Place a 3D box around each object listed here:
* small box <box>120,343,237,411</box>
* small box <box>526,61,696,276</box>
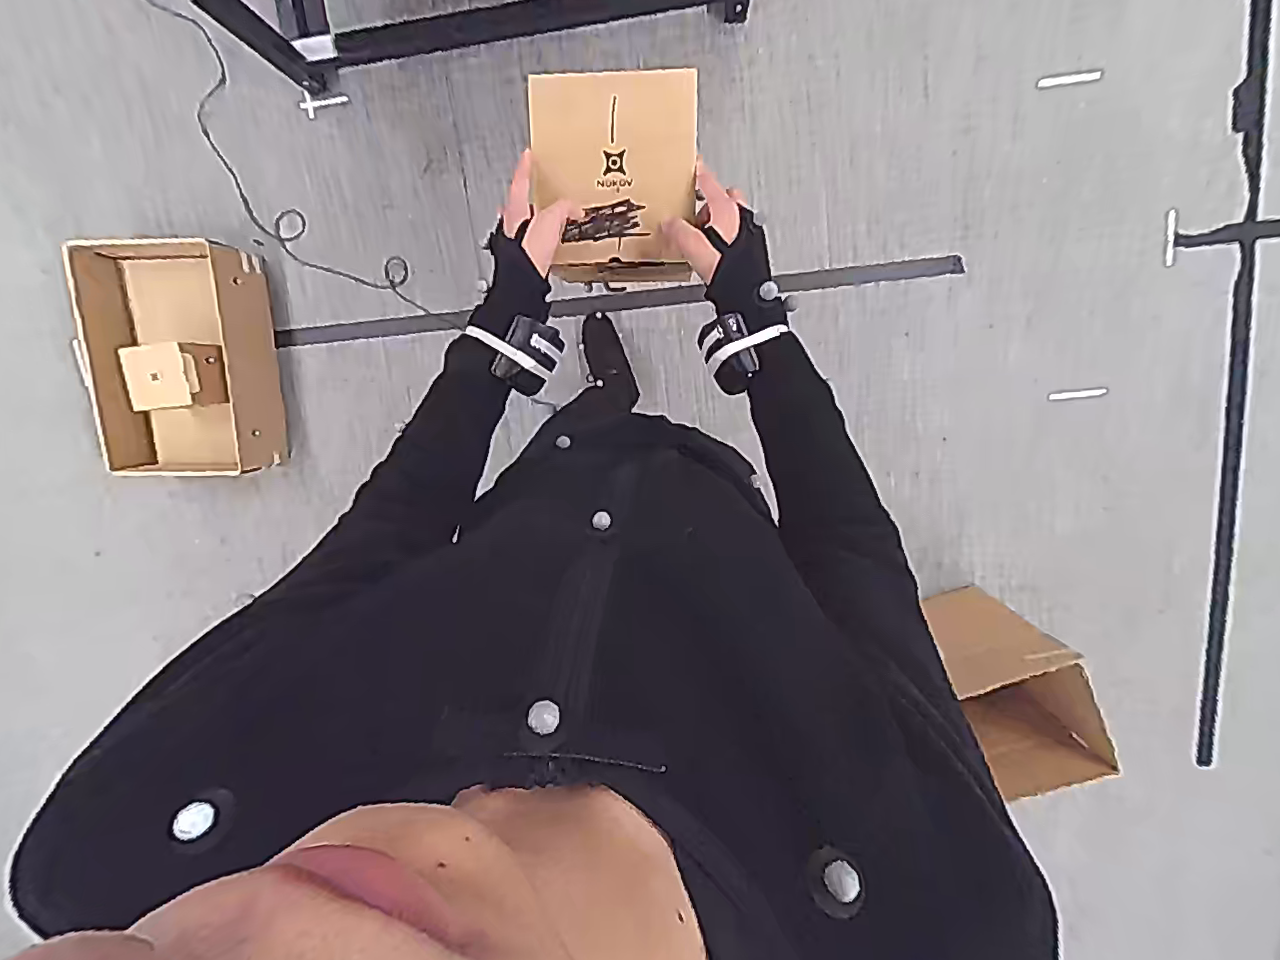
[{"bbox_3d":[-1.260,-0.283,1.496,0.179,0.176,0.168,-5,99,4],"label":"small box"},{"bbox_3d":[-0.022,-0.329,0.609,0.168,0.176,0.179,0,103,4],"label":"small box"}]
